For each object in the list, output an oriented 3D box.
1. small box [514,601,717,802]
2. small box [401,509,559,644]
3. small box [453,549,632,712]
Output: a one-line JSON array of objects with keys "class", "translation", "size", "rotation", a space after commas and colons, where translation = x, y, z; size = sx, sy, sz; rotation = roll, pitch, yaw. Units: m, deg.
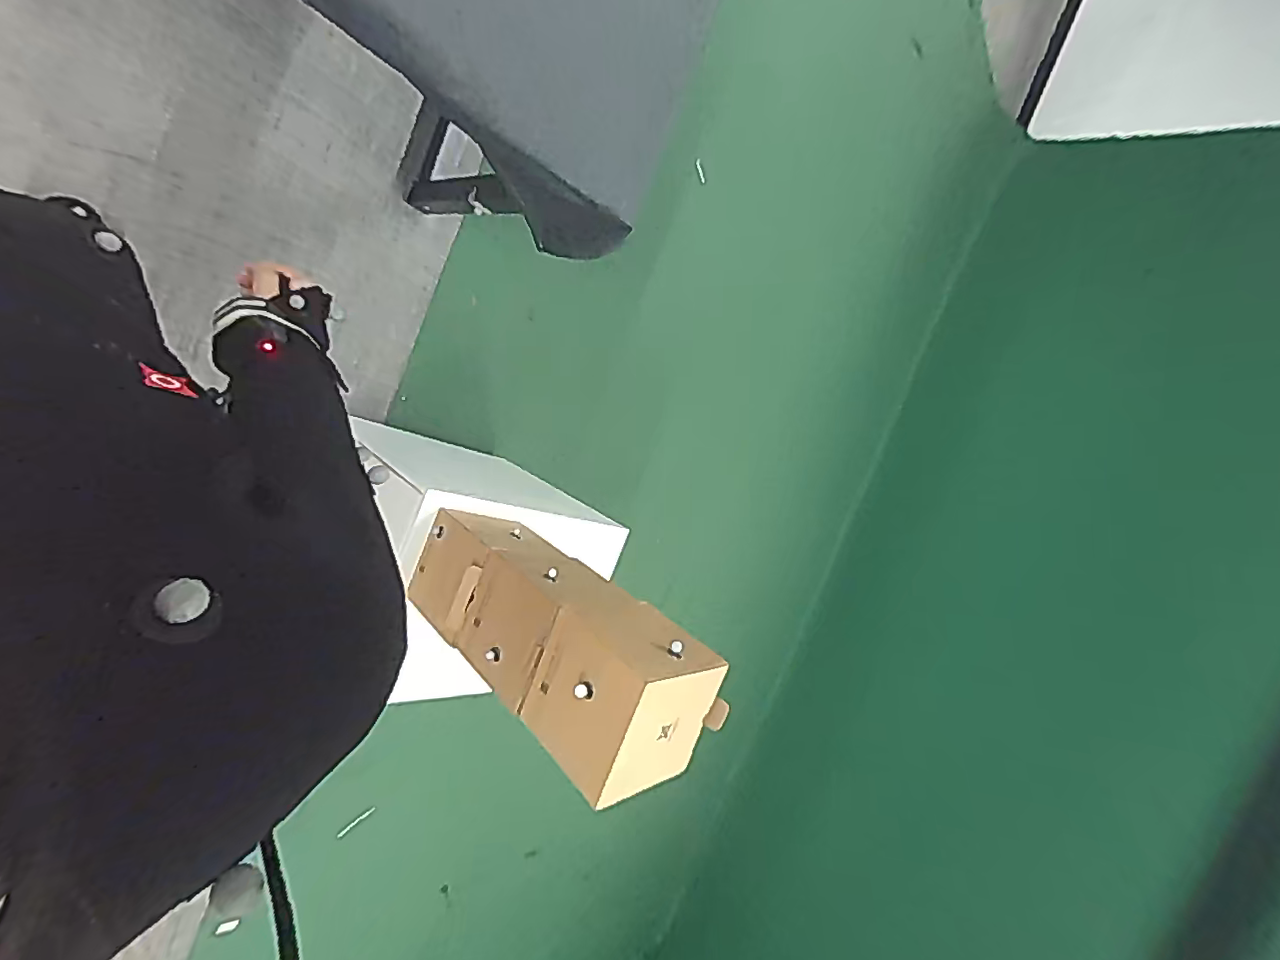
[{"class": "small box", "translation": [-0.036, 0.272, 0.711], "size": [0.179, 0.176, 0.168], "rotation": [13, 101, -50]}, {"class": "small box", "translation": [-0.268, 0.159, 0.908], "size": [0.179, 0.176, 0.168], "rotation": [19, 96, -51]}, {"class": "small box", "translation": [-0.149, 0.214, 0.812], "size": [0.179, 0.176, 0.168], "rotation": [14, 100, -51]}]
